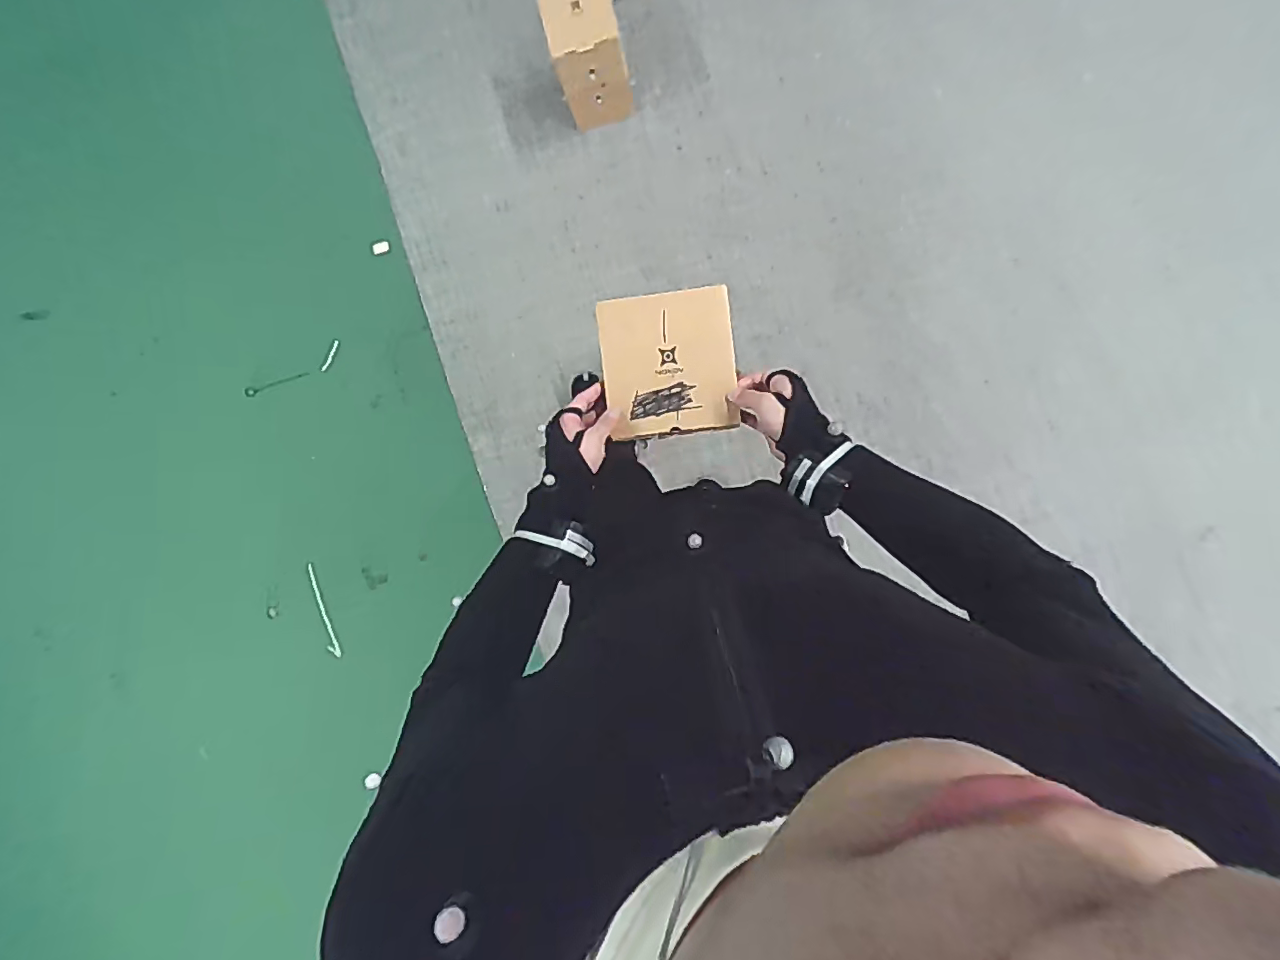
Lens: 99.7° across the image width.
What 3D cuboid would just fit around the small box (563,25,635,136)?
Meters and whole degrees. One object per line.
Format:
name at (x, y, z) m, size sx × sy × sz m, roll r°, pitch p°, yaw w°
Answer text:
small box at (-0.122, -1.096, 1.501) m, size 0.179 × 0.176 × 0.168 m, roll -12°, pitch 93°, yaw 6°

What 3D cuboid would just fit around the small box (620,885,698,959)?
small box at (0.057, 1.245, 1.447) m, size 0.168 × 0.176 × 0.179 m, roll -18°, pitch 92°, yaw 4°

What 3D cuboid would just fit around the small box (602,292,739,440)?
small box at (0.045, -0.150, 0.768) m, size 0.168 × 0.176 × 0.179 m, roll -5°, pitch 92°, yaw 3°

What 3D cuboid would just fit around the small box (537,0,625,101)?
small box at (-0.140, -1.080, 1.339) m, size 0.168 × 0.176 × 0.179 m, roll -13°, pitch 94°, yaw 6°
